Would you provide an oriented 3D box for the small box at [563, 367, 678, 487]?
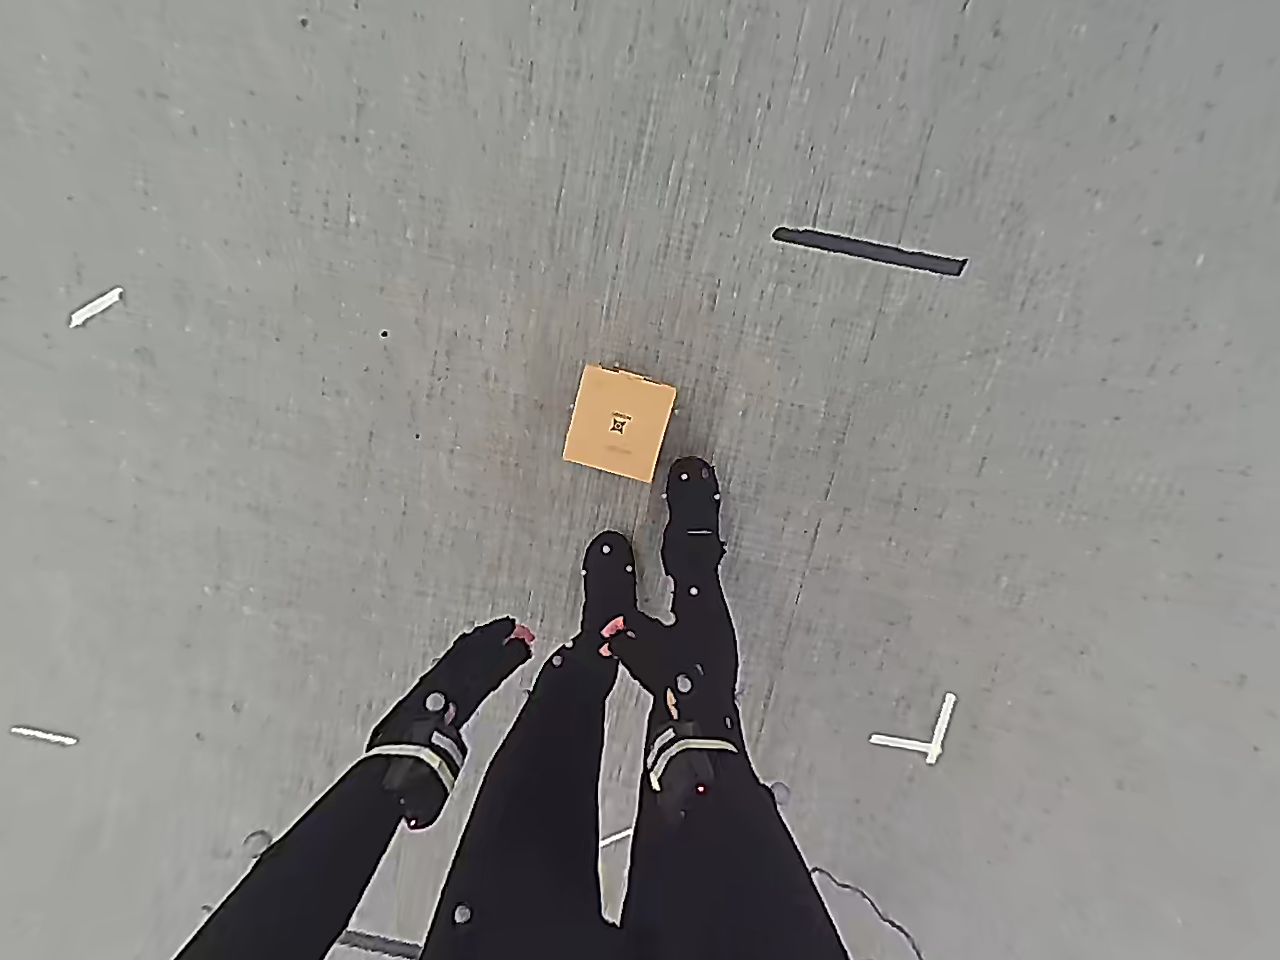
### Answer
[{"bbox_3d":[-0.032,-0.105,1.014,0.168,0.176,0.179,15,101,1],"label":"small box"}]
